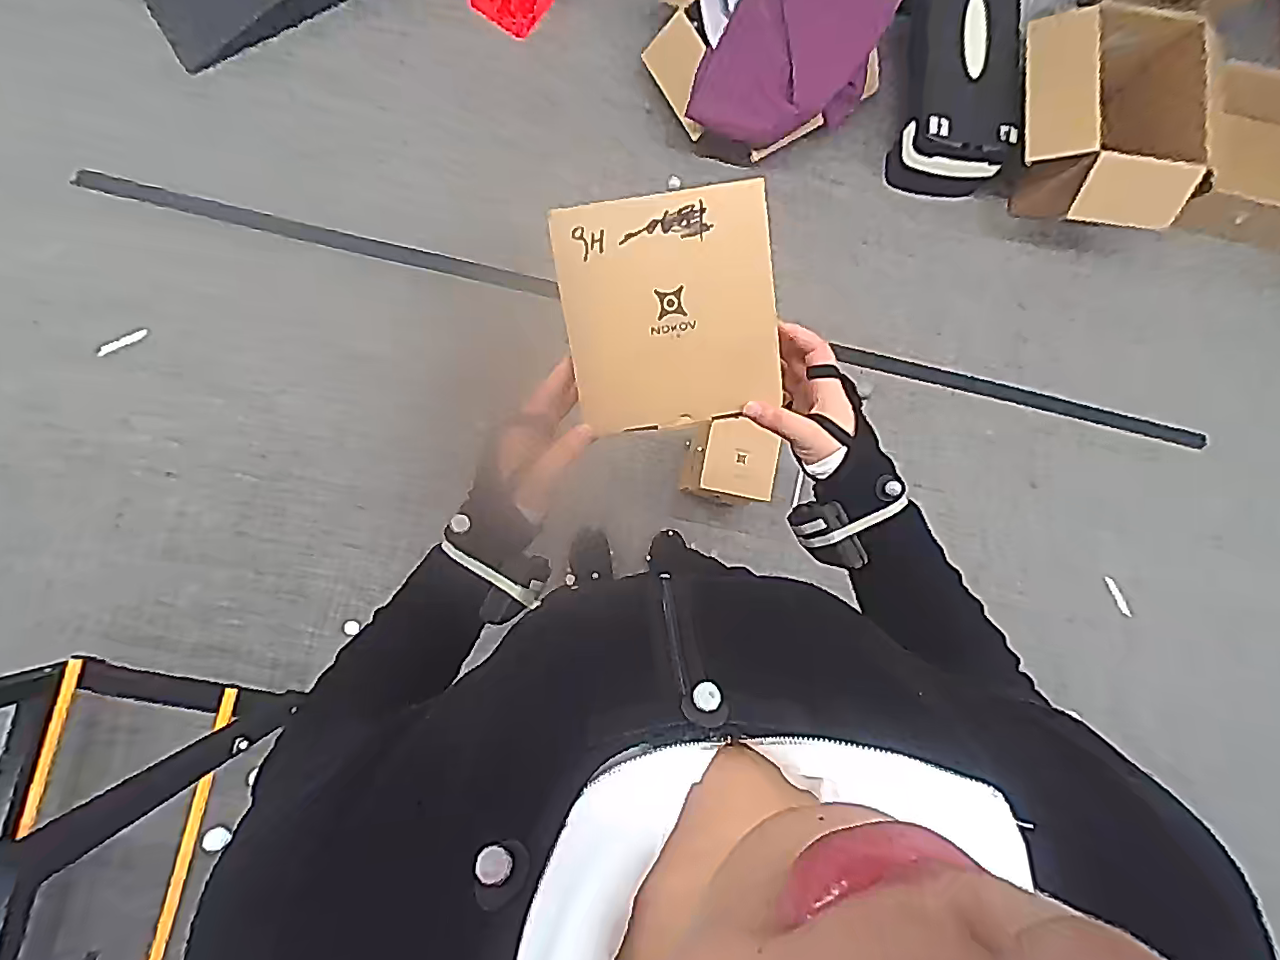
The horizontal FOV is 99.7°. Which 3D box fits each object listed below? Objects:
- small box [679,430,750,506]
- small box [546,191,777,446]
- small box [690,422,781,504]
[{"bbox_3d":[0.215,-0.028,1.462,0.179,0.176,0.168,16,85,-4],"label":"small box"},{"bbox_3d":[0.019,-0.144,0.502,0.168,0.176,0.179,-10,106,0],"label":"small box"},{"bbox_3d":[0.223,-0.042,1.301,0.168,0.176,0.179,11,86,-2],"label":"small box"}]
